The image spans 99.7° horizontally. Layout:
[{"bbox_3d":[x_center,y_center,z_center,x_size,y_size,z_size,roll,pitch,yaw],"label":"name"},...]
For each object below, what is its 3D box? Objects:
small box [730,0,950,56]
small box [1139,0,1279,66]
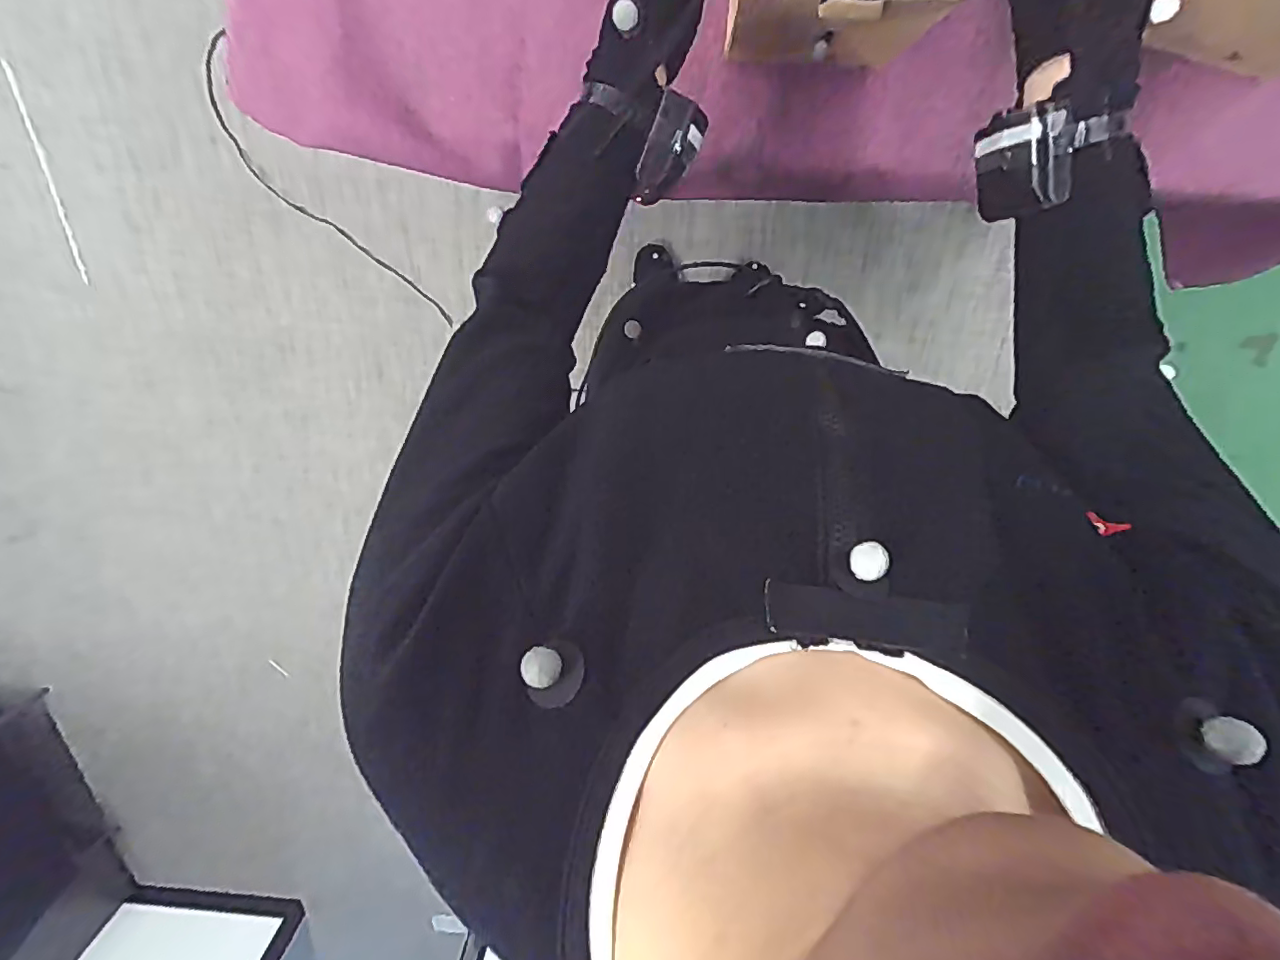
[{"bbox_3d":[0.167,-0.473,0.439,0.168,0.176,0.179,4,114,2],"label":"small box"},{"bbox_3d":[0.552,-0.457,0.416,0.168,0.176,0.179,14,114,-2],"label":"small box"}]
